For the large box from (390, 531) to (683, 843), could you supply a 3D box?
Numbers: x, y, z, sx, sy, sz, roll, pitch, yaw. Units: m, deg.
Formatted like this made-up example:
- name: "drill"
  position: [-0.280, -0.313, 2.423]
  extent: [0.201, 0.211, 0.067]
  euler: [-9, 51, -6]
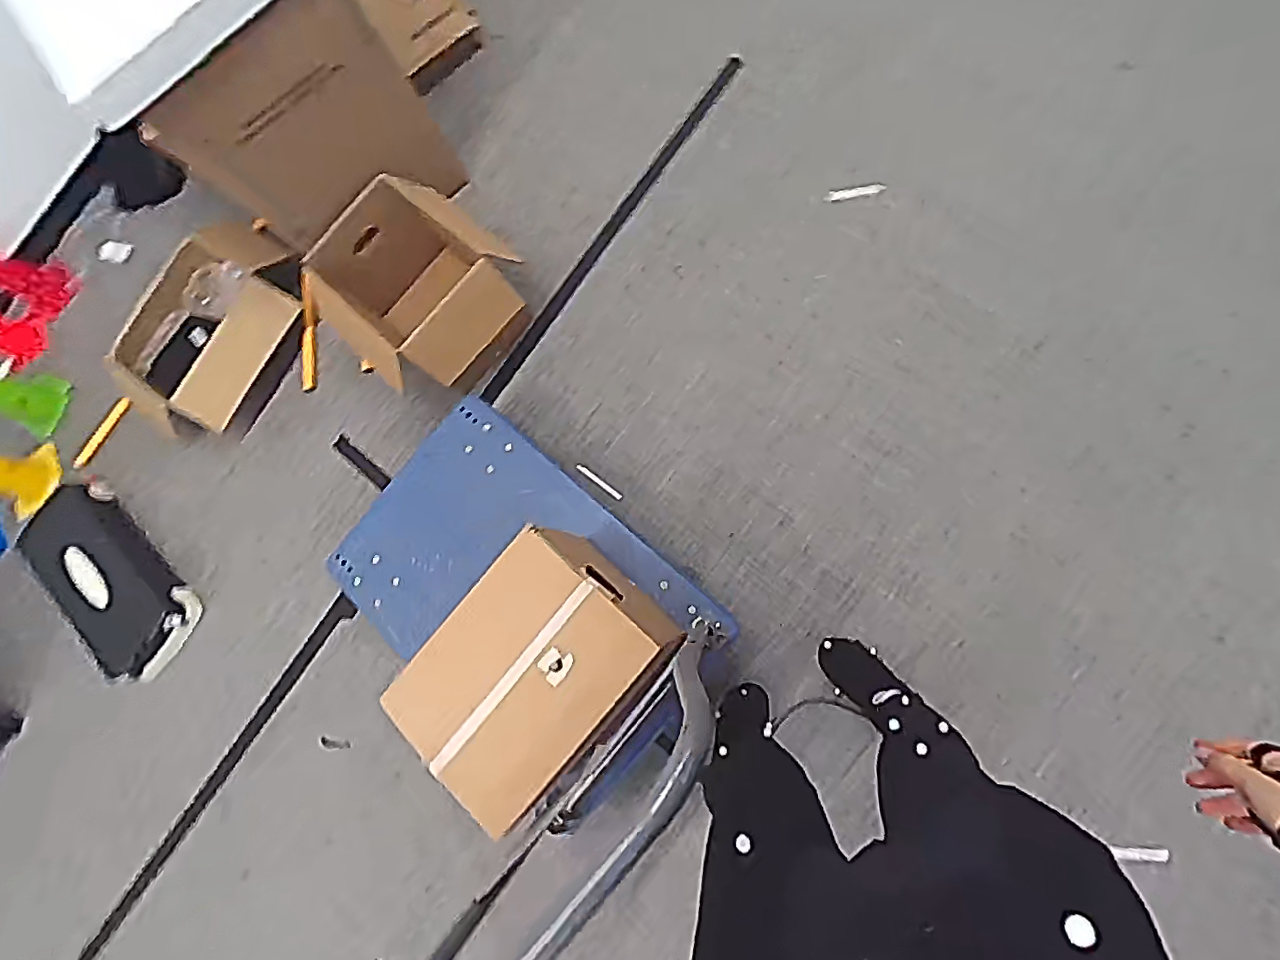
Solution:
- name: "large box"
  position: [-0.172, 0.363, 1.042]
  extent: [0.320, 0.320, 0.408]
  euler: [40, 88, 16]
